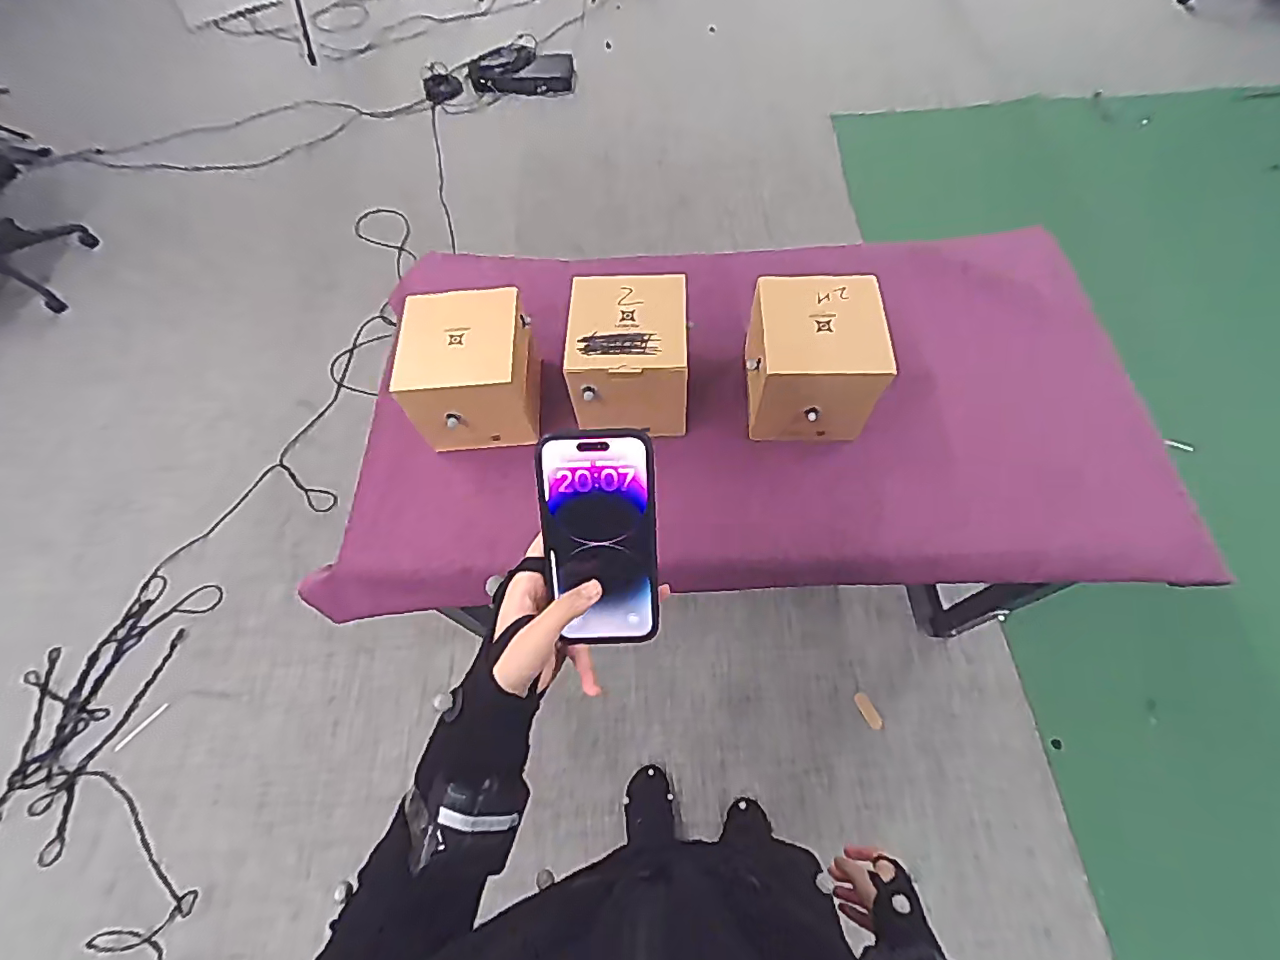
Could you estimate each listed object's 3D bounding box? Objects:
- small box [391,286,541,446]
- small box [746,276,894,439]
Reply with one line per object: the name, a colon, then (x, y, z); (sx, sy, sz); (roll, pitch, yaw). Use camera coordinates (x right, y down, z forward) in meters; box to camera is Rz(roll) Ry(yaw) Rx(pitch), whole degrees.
small box: (-0.249, -0.163, 0.821); (0.168, 0.176, 0.179); (-5, 62, 1)
small box: (0.251, -0.174, 0.797); (0.168, 0.176, 0.179); (1, 62, 3)
